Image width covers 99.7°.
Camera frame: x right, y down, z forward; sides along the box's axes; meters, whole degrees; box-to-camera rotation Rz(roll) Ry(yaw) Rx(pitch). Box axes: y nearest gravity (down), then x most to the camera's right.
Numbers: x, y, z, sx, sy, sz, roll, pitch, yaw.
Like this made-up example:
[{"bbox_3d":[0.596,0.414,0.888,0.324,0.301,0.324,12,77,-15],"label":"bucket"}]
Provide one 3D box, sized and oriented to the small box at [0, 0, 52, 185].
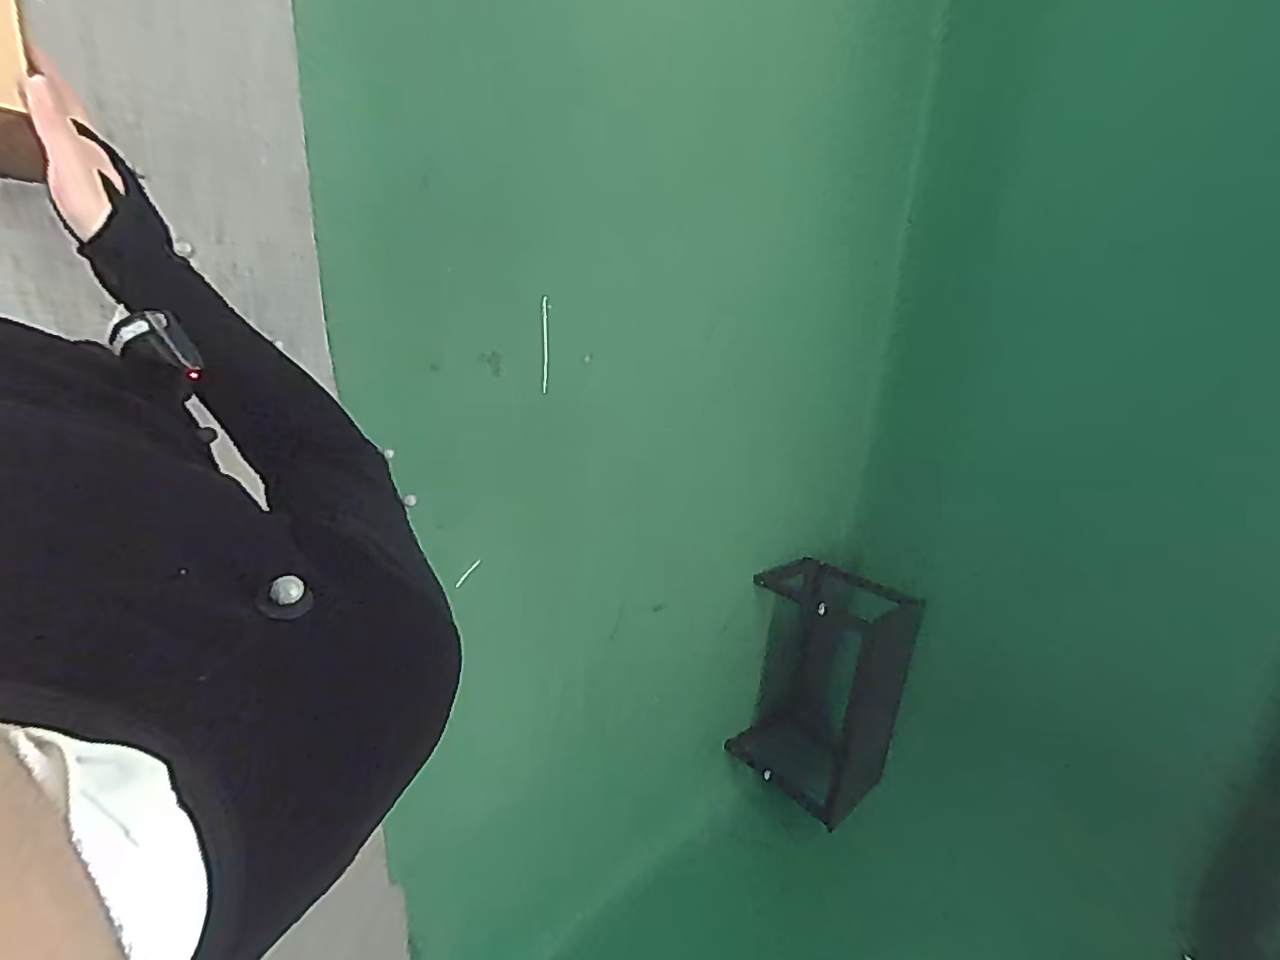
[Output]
[{"bbox_3d":[-0.557,-0.347,0.387,0.168,0.176,0.179,-8,100,-43],"label":"small box"}]
